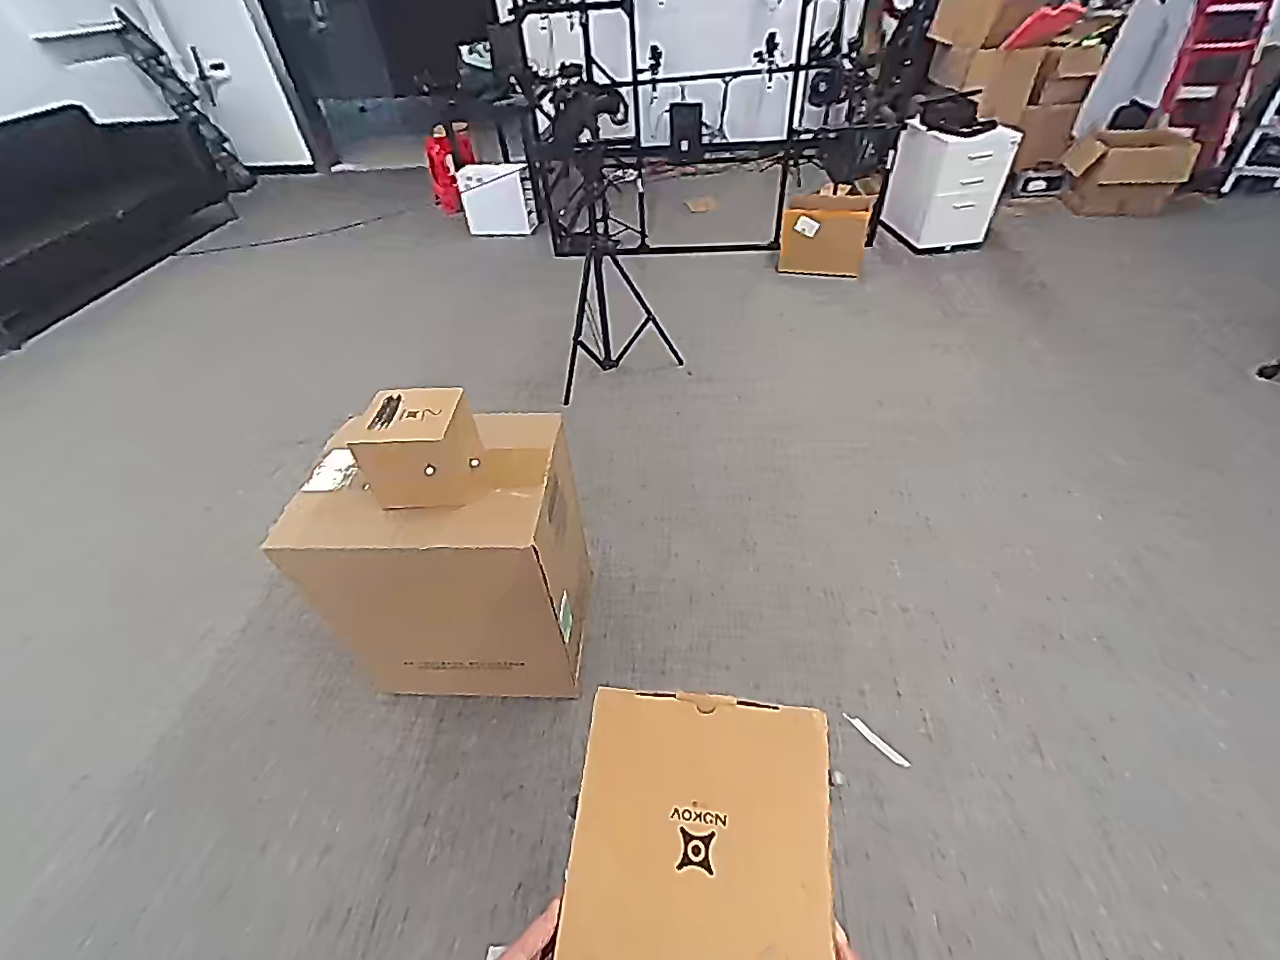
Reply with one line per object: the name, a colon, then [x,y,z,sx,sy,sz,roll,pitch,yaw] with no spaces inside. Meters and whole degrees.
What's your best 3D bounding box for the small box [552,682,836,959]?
small box: [0.049,0.265,0.404,0.168,0.176,0.179,1,58,11]
